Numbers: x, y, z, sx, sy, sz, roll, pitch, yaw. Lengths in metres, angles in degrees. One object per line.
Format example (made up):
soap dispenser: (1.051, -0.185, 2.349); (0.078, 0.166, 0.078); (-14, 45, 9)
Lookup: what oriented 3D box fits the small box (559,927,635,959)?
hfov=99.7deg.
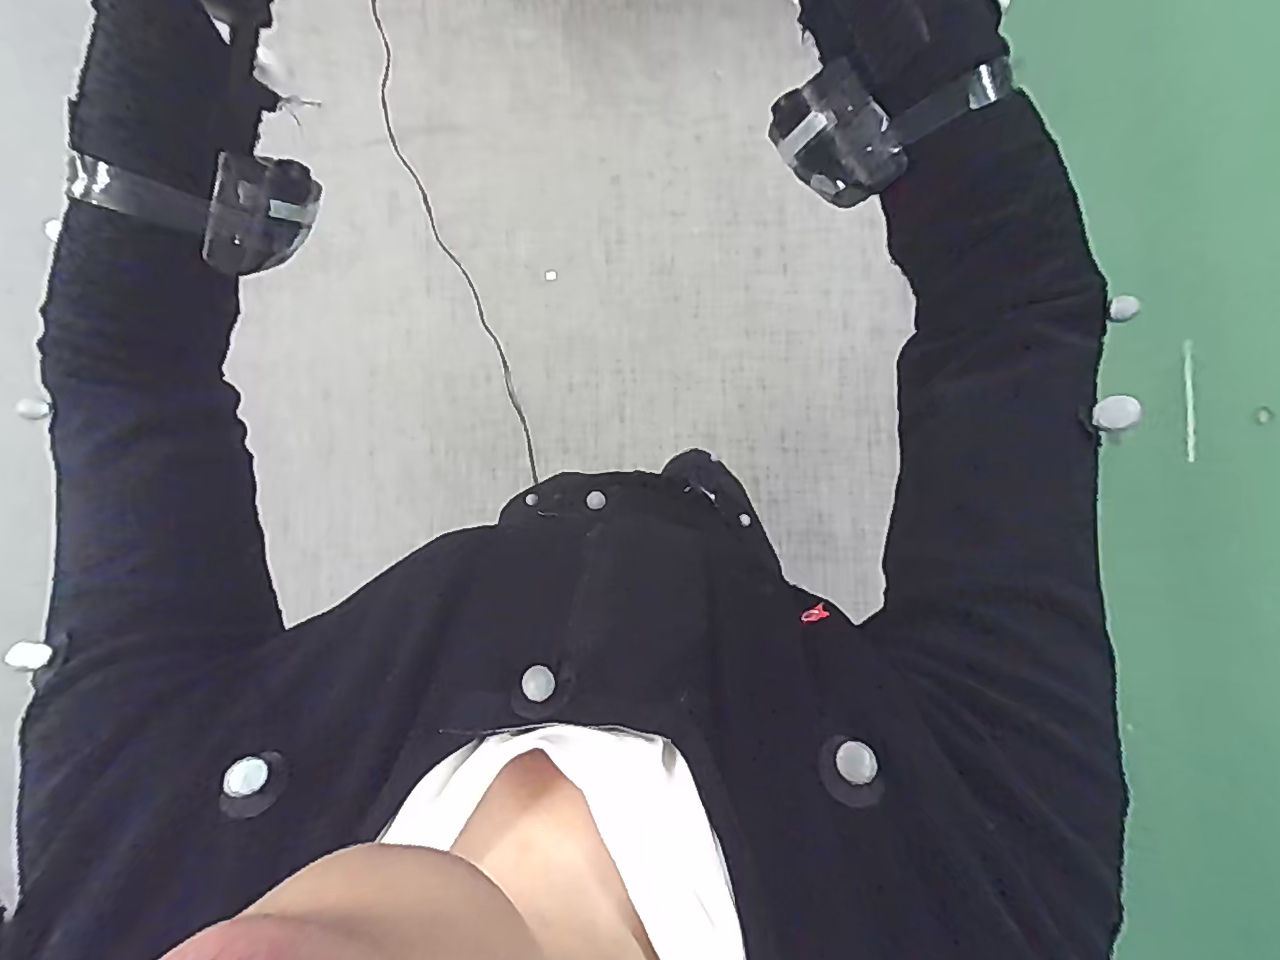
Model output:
small box: (-0.096, 1.136, 1.186); (0.168, 0.176, 0.179); (0, 87, 2)
